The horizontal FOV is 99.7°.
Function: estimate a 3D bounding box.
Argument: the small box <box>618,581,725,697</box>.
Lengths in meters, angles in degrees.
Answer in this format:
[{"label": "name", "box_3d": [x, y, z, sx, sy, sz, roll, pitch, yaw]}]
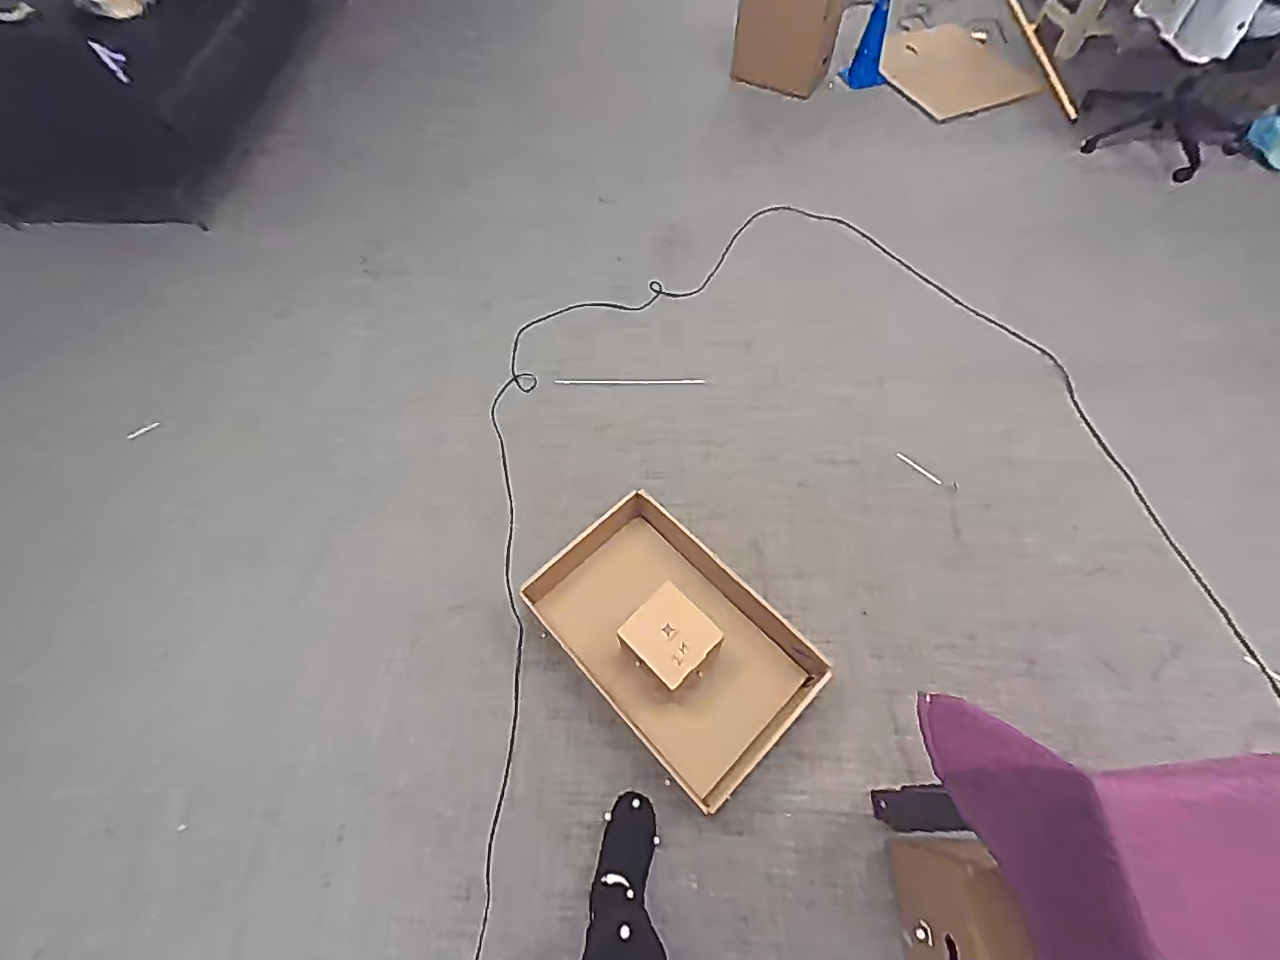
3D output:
[{"label": "small box", "box_3d": [0.071, 0.368, 1.232, 0.168, 0.176, 0.179, -41, 67, -17]}]
